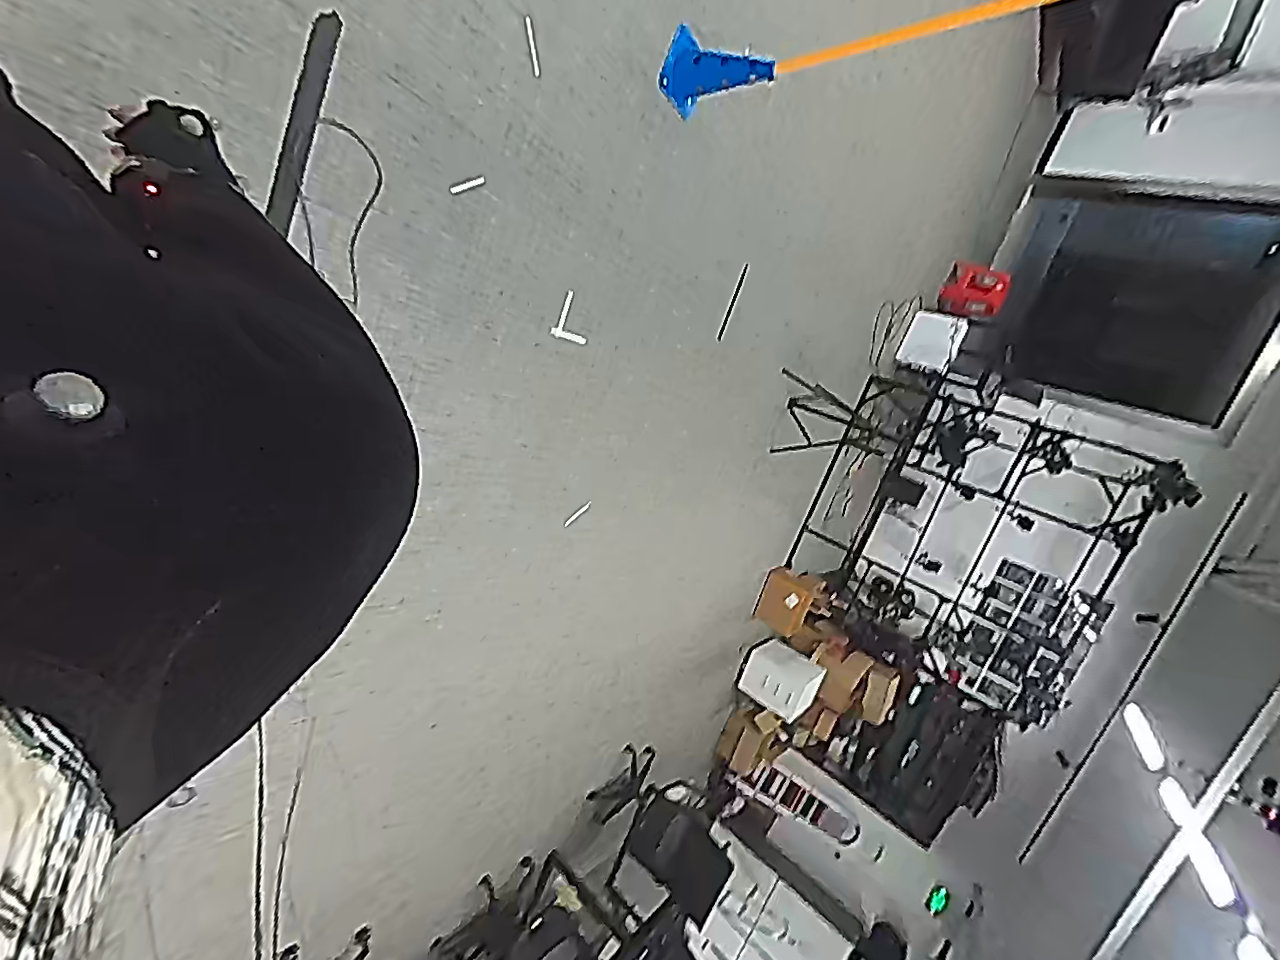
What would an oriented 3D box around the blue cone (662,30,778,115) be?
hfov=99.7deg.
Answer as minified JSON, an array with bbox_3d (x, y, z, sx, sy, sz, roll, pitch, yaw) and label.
[{"bbox_3d":[0.273,-1.302,1.725,0.193,0.380,0.192,13,103,-55],"label":"blue cone"}]
